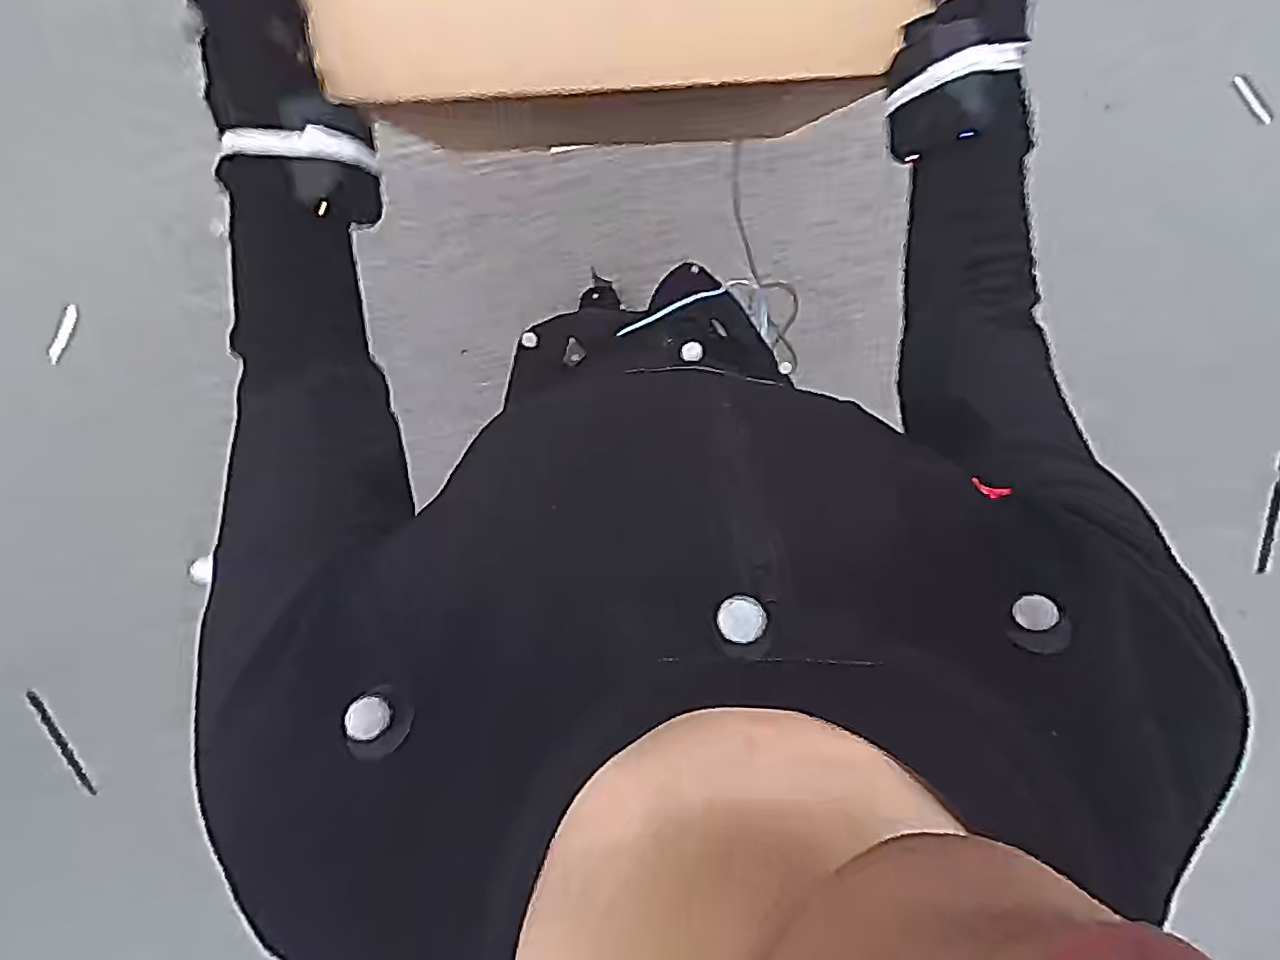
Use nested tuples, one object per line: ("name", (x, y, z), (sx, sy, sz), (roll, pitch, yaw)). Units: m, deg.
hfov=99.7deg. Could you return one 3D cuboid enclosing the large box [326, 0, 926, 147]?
("large box", (-0.023, -0.478, 0.440), (0.408, 0.320, 0.320), (-4, 117, -4))
